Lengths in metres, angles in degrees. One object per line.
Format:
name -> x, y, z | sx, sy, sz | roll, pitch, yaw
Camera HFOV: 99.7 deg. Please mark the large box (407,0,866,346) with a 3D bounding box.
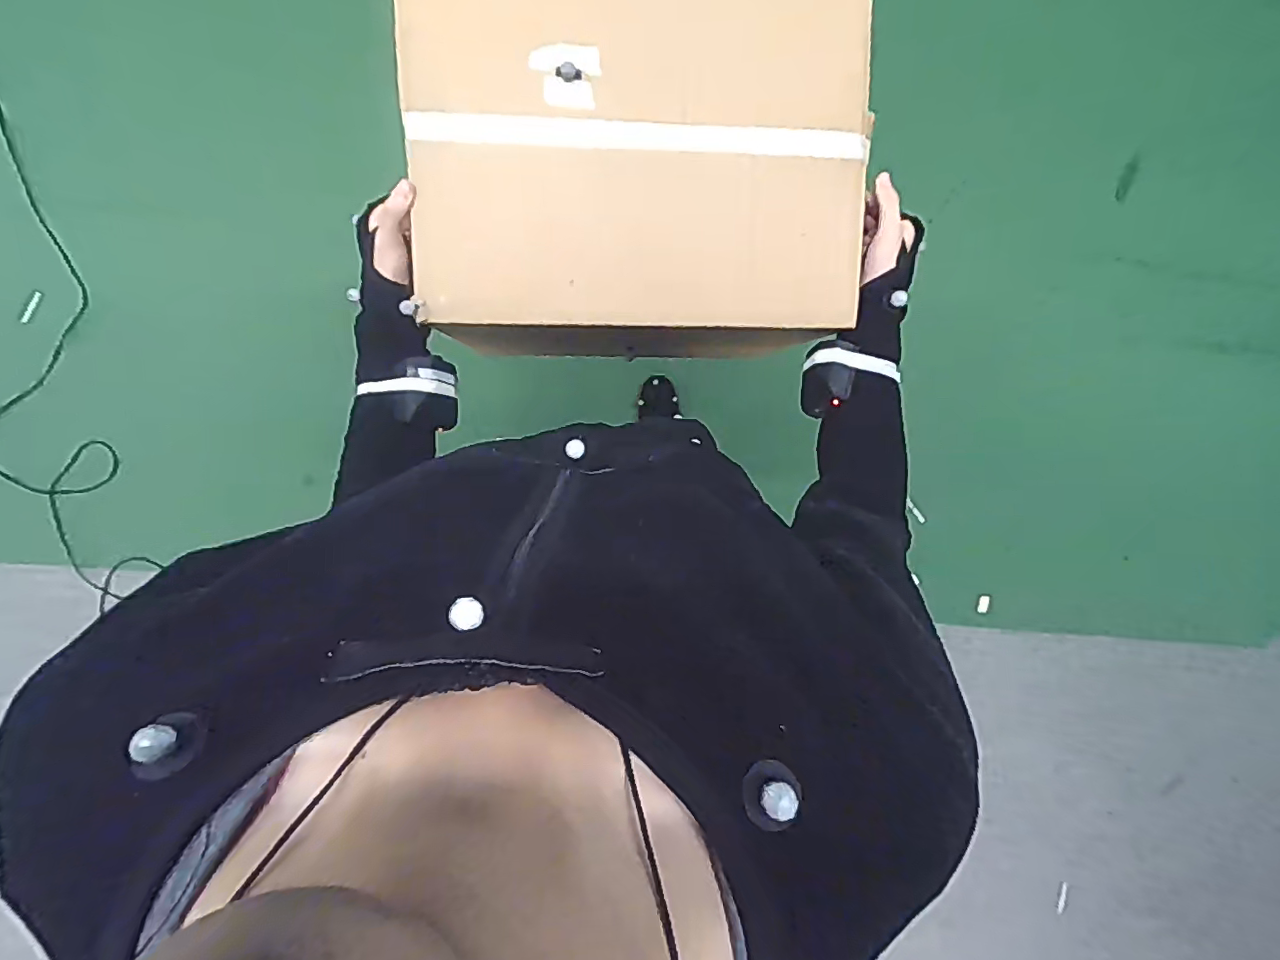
large box -> -0.007, -0.324, 0.629 | 0.408, 0.320, 0.320 | -1, 98, -5
